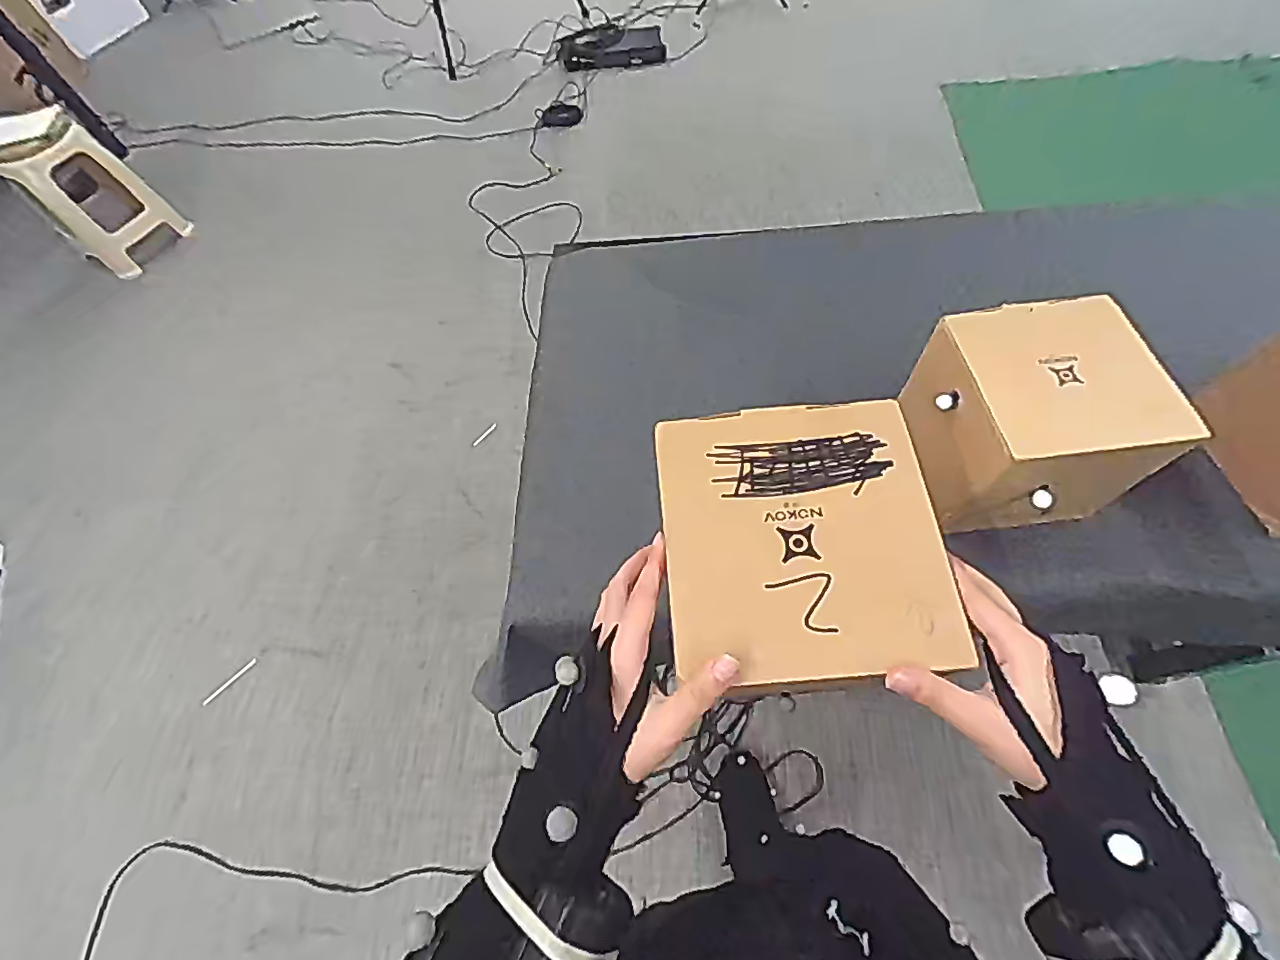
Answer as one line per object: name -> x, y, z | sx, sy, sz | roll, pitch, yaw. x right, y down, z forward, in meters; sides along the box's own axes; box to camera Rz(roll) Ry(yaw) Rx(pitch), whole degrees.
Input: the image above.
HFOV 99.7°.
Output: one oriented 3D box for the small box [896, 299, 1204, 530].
small box -> 0.399, -0.057, 0.570 | 0.168, 0.176, 0.179 | -7, 60, 2
